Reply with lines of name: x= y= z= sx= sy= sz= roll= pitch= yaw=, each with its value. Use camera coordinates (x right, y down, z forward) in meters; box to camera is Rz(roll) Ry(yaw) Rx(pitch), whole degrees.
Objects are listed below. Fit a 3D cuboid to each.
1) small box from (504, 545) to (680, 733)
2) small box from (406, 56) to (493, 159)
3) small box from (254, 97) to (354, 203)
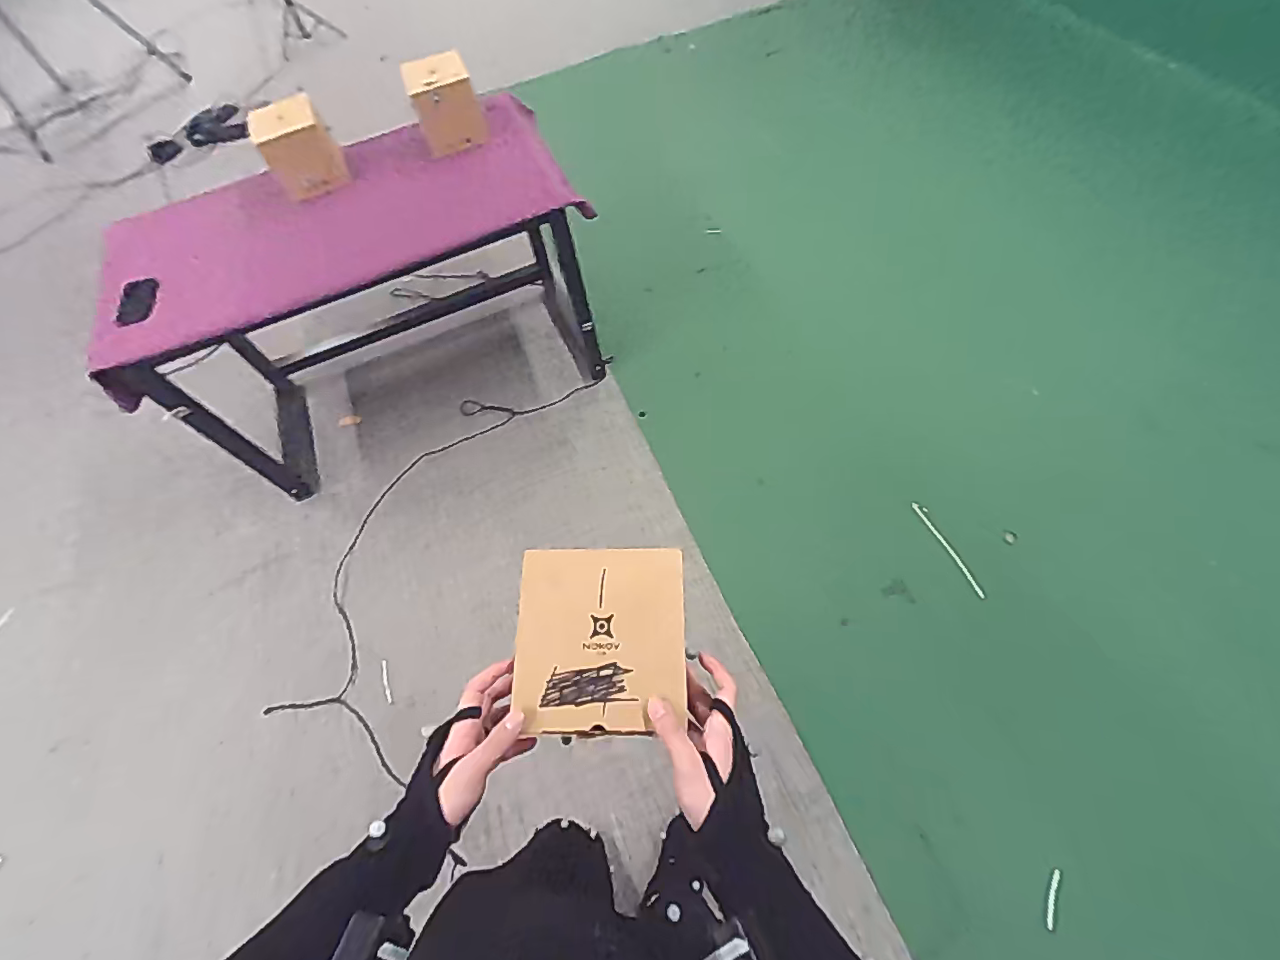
small box: x=-0.040 y=0.178 z=0.593 sx=0.168 sy=0.176 sz=0.179 roll=-1 pitch=65 yaw=1
small box: x=-0.533 y=-1.043 z=1.520 sx=0.168 sy=0.176 sz=0.179 roll=-21 pitch=60 yaw=-5
small box: x=-0.917 y=-0.902 z=1.483 sx=0.168 sy=0.176 sz=0.179 roll=-24 pitch=62 yaw=-6
